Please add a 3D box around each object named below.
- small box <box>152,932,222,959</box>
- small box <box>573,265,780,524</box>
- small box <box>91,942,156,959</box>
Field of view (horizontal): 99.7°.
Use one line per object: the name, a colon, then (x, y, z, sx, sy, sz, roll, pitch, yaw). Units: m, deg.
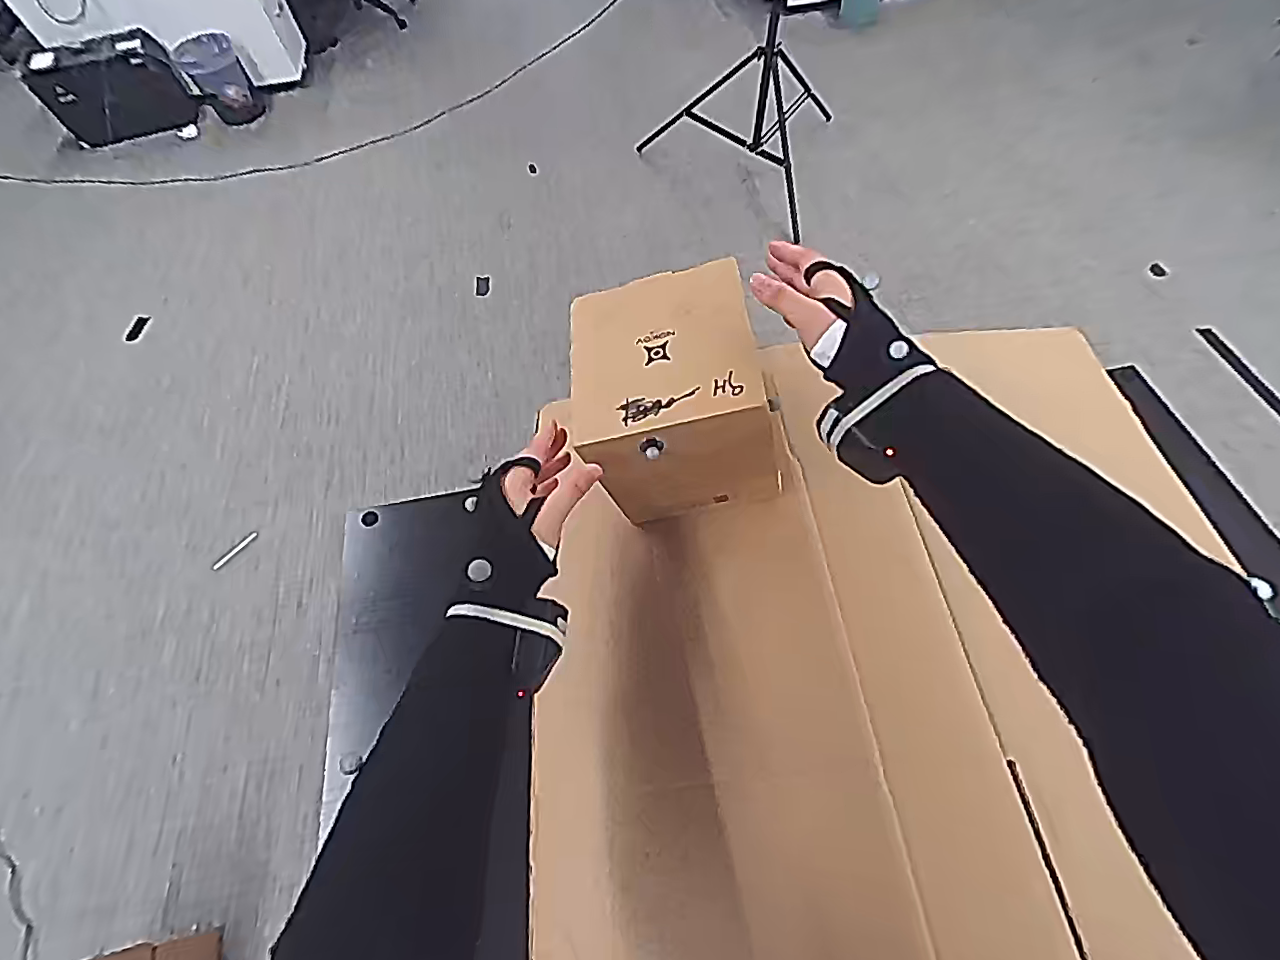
small box: (-0.935, 0.990, 1.019, 0.168, 0.176, 0.179, -14, 61, -5)
small box: (0.041, -0.076, 0.549, 0.168, 0.176, 0.179, -12, 59, 13)
small box: (-0.945, 0.905, 0.881, 0.168, 0.176, 0.179, -17, 60, -7)
